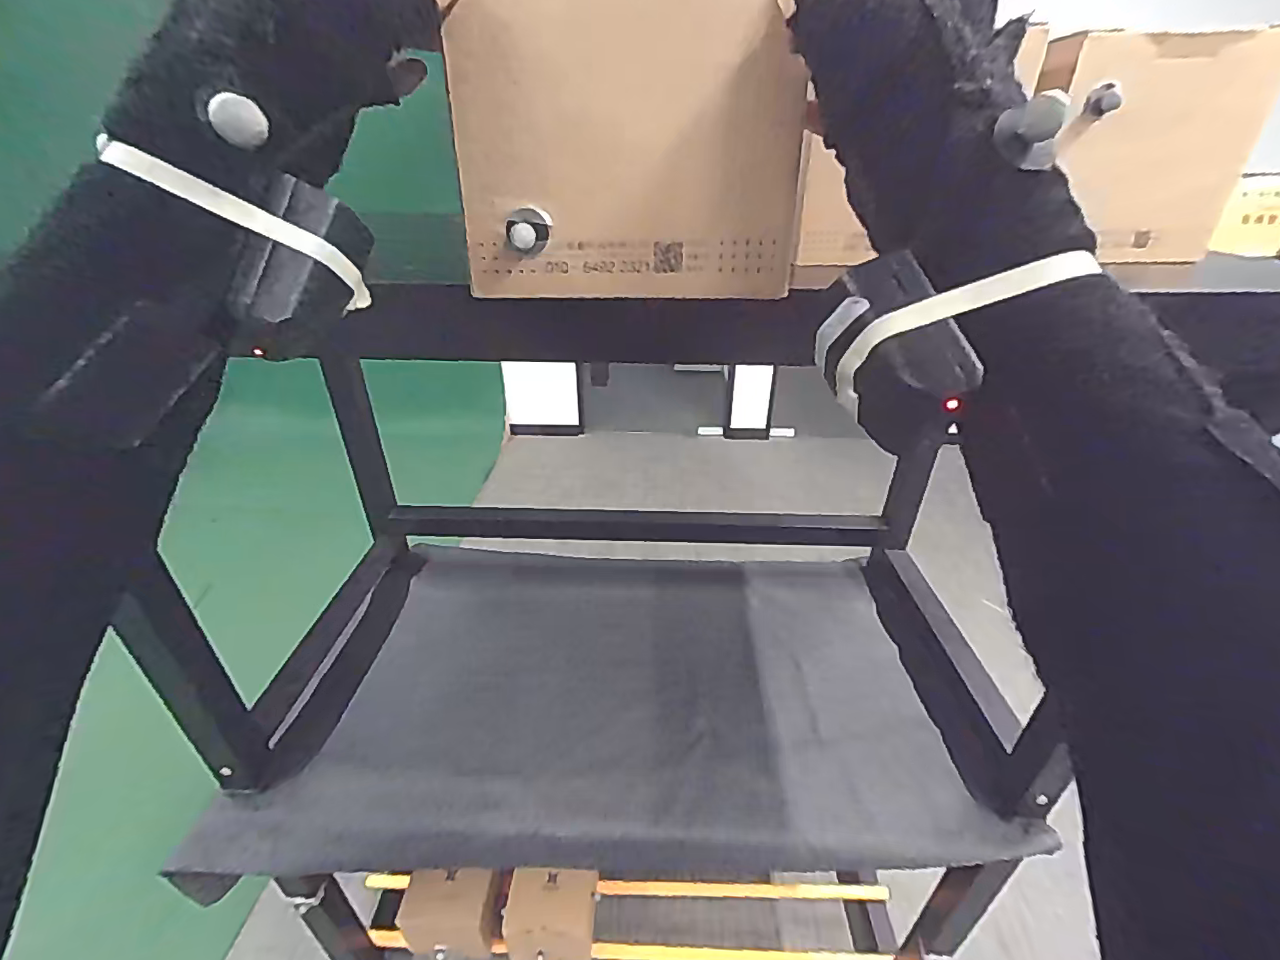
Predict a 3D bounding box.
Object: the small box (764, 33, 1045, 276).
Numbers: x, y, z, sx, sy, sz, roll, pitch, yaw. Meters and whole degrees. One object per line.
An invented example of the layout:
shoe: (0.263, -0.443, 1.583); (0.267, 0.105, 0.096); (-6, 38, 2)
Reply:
small box: (0.220, -0.299, 0.512); (0.168, 0.176, 0.179); (1, 31, 1)
